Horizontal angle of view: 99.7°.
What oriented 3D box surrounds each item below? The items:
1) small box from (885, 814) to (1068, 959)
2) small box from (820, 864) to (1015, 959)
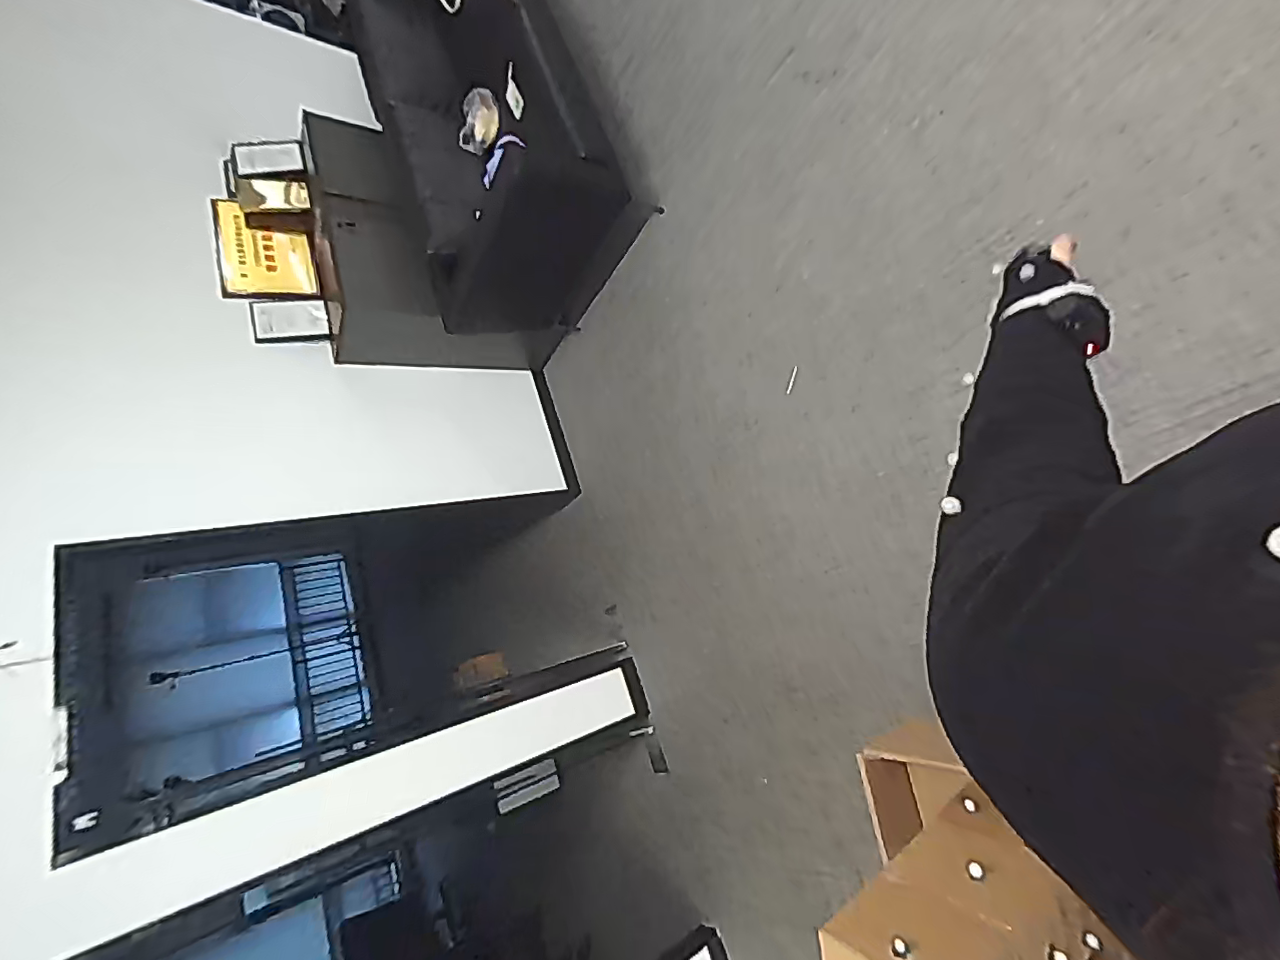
[{"bbox_3d":[0.496,0.631,0.794,0.179,0.176,0.168,-12,85,53],"label":"small box"},{"bbox_3d":[0.365,0.645,0.697,0.179,0.176,0.168,-10,86,55],"label":"small box"}]
